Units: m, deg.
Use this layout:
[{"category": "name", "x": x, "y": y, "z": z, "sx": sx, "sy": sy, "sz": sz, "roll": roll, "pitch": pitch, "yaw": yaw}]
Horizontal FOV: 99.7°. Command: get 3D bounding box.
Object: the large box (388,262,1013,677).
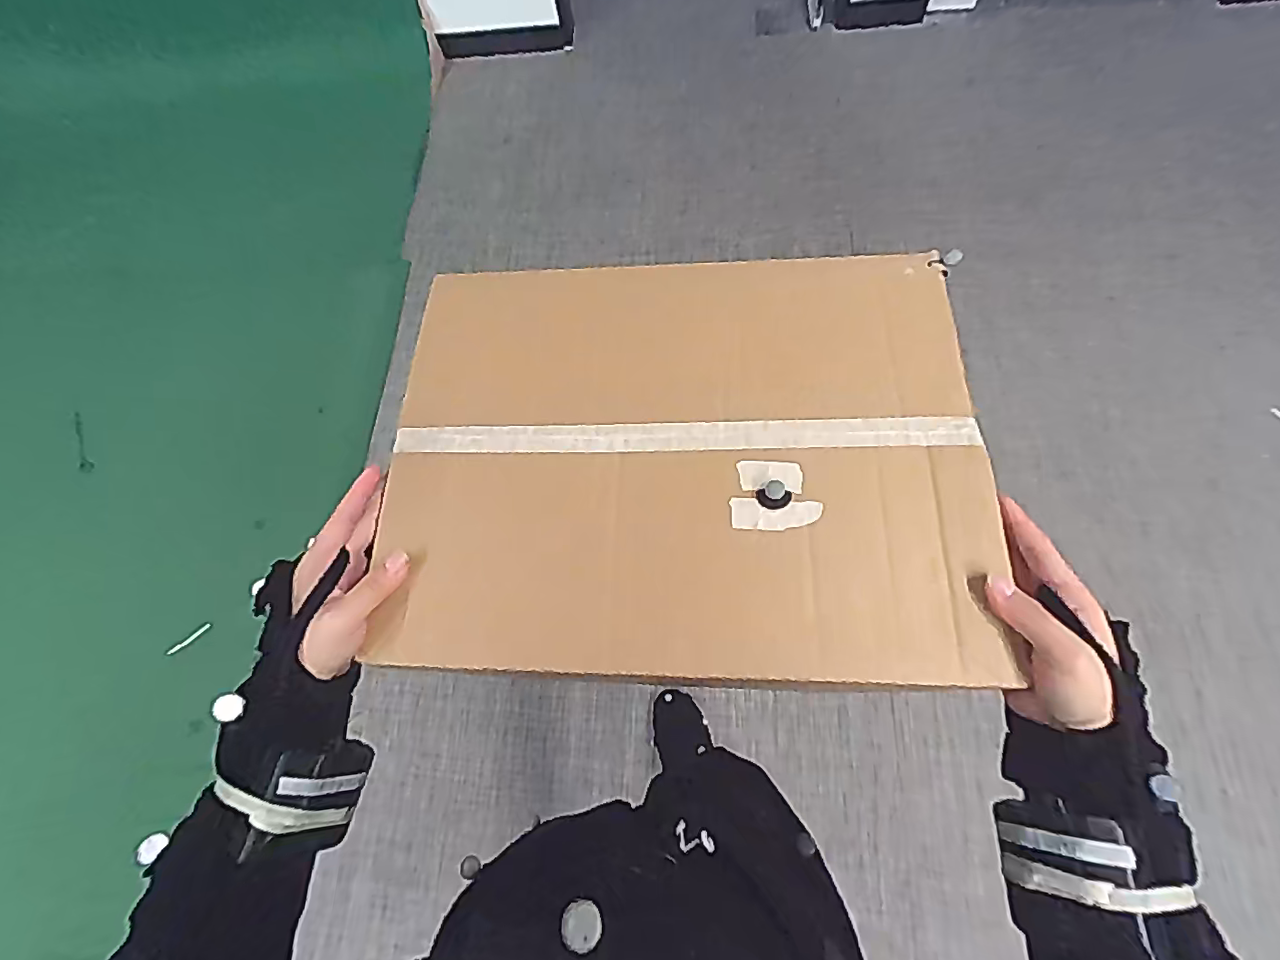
[{"category": "large box", "x": 0.042, "y": 0.024, "z": 0.532, "sx": 0.408, "sy": 0.320, "sz": 0.320, "roll": 0, "pitch": 69, "yaw": 5}]
